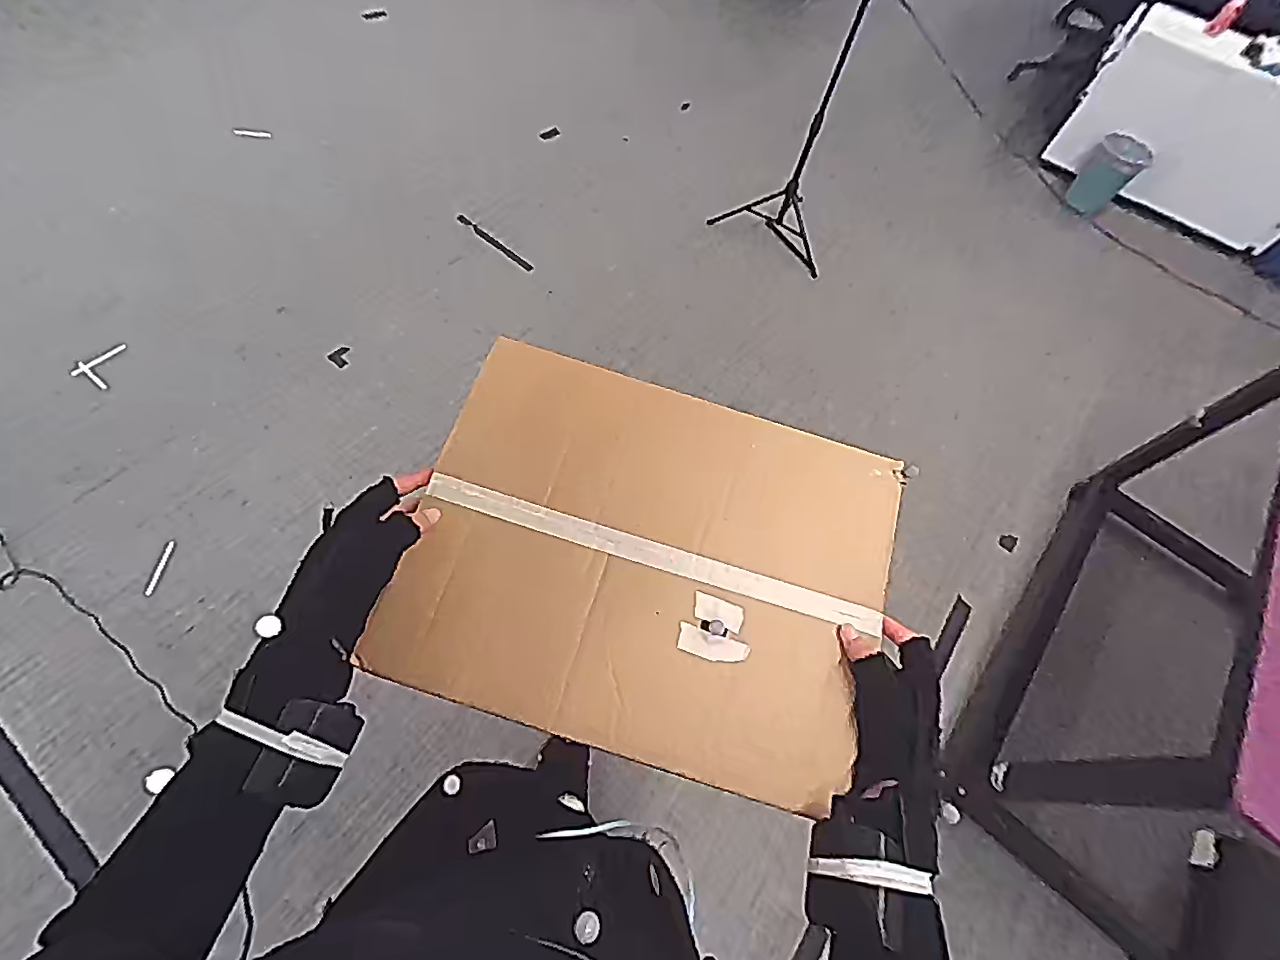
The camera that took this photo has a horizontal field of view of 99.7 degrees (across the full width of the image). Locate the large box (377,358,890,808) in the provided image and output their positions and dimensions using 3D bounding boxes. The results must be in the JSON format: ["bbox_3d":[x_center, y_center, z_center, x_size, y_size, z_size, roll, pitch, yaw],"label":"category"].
[{"bbox_3d":[0.001,0.117,0.625,0.408,0.320,0.320,18,72,1],"label":"large box"}]
